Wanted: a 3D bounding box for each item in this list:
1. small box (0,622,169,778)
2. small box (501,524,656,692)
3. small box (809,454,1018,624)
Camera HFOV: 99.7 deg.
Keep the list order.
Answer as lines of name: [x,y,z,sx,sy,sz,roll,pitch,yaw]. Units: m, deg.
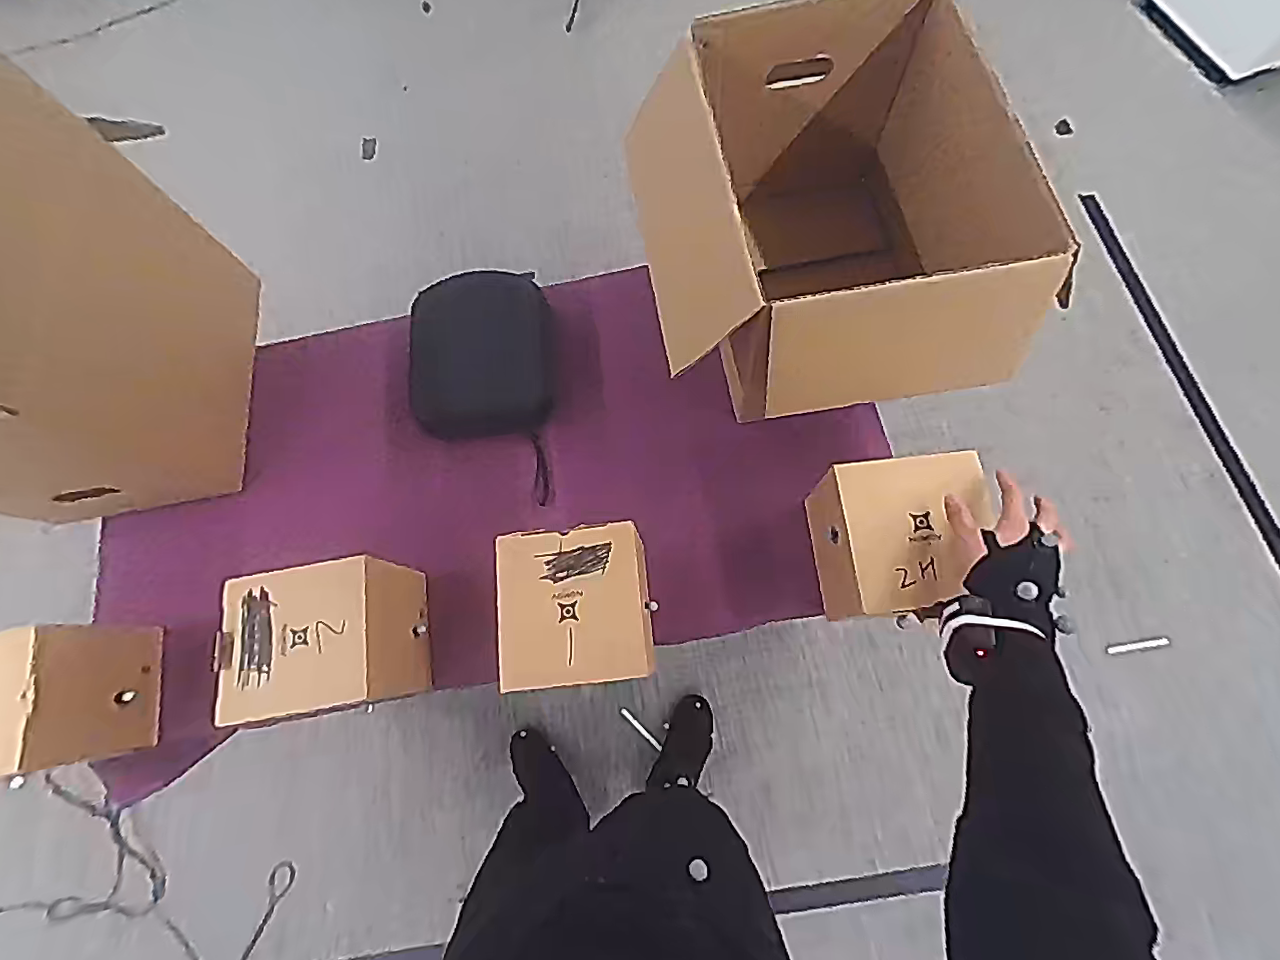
small box: [-0.778,0.290,0.705,0.179,0.176,0.168,-13,72,-1]
small box: [-0.071,0.165,0.687,0.168,0.176,0.179,-7,73,3]
small box: [0.321,0.082,0.678,0.168,0.176,0.179,-6,72,4]
